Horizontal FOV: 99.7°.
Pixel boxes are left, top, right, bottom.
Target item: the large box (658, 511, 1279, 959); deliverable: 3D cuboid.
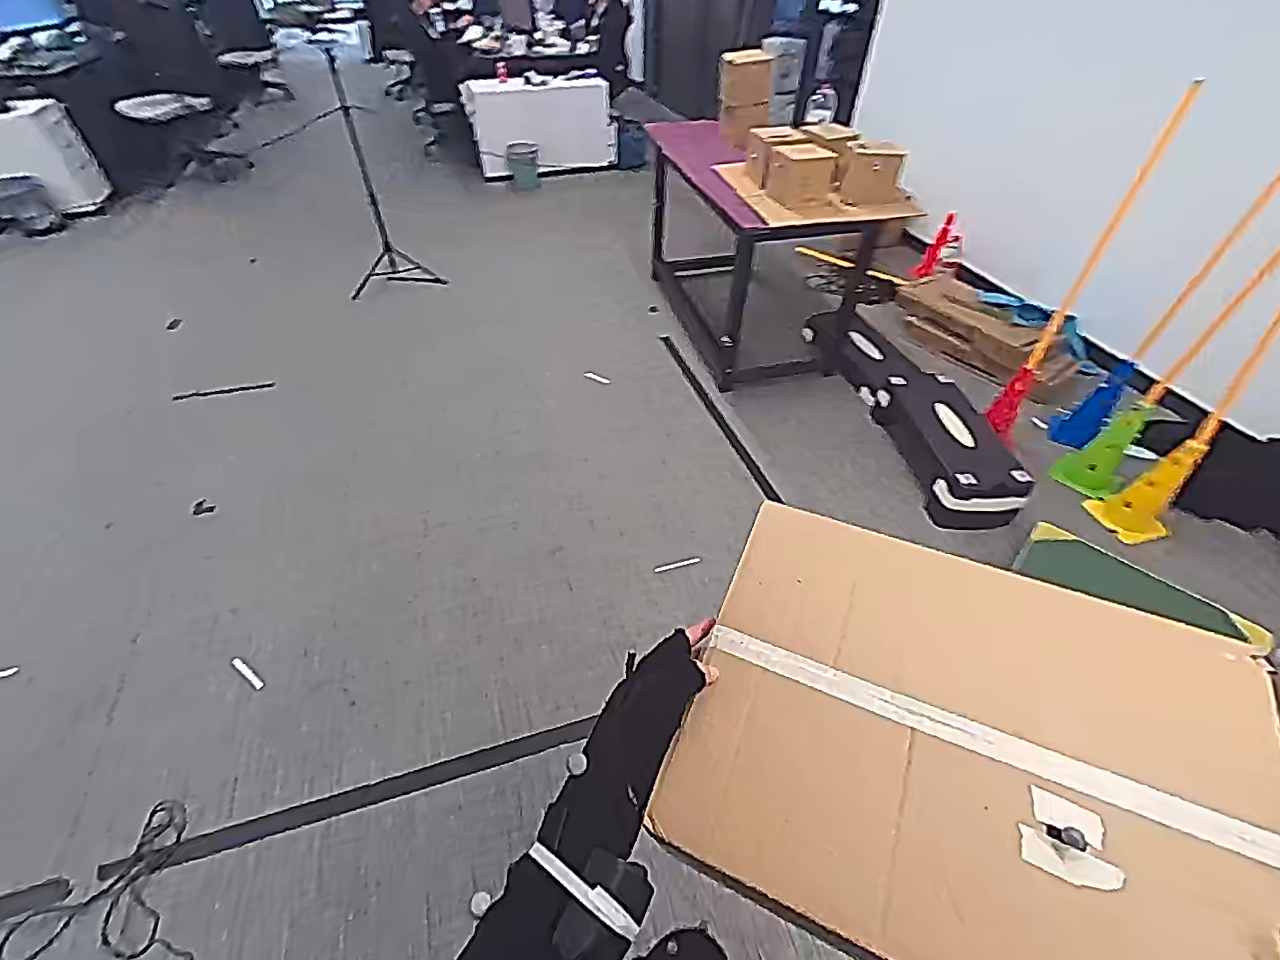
[{"bbox_3d":[0.263,0.286,0.544,0.408,0.320,0.320,17,58,19],"label":"large box"}]
